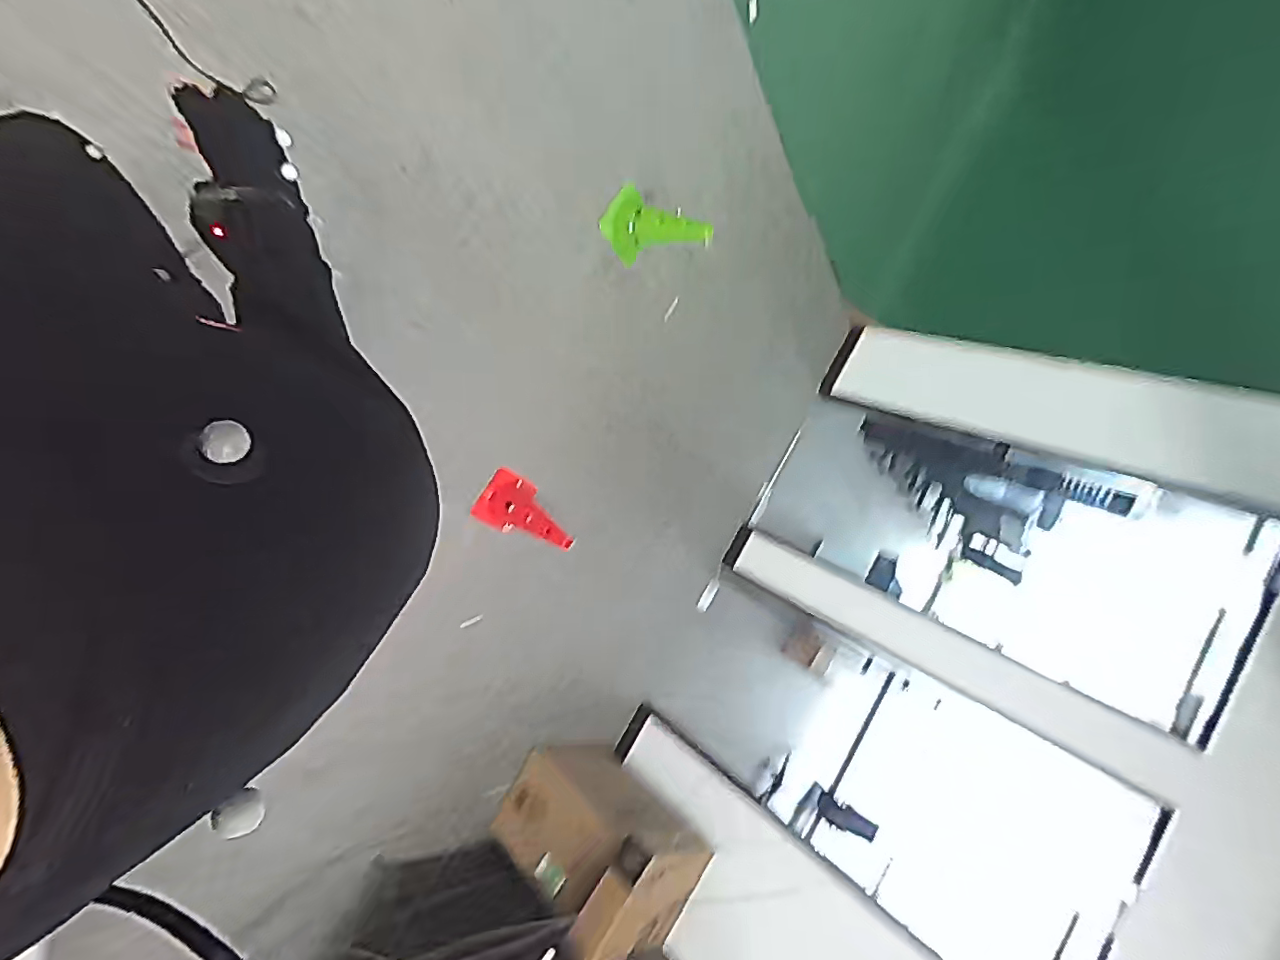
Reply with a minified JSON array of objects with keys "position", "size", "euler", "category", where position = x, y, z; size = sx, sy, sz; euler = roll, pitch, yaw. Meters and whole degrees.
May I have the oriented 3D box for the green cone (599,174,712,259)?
[{"position":[0.078,-0.819,1.715],"size":[0.202,0.368,0.200],"euler":[-59,142,-4],"category":"green cone"}]
